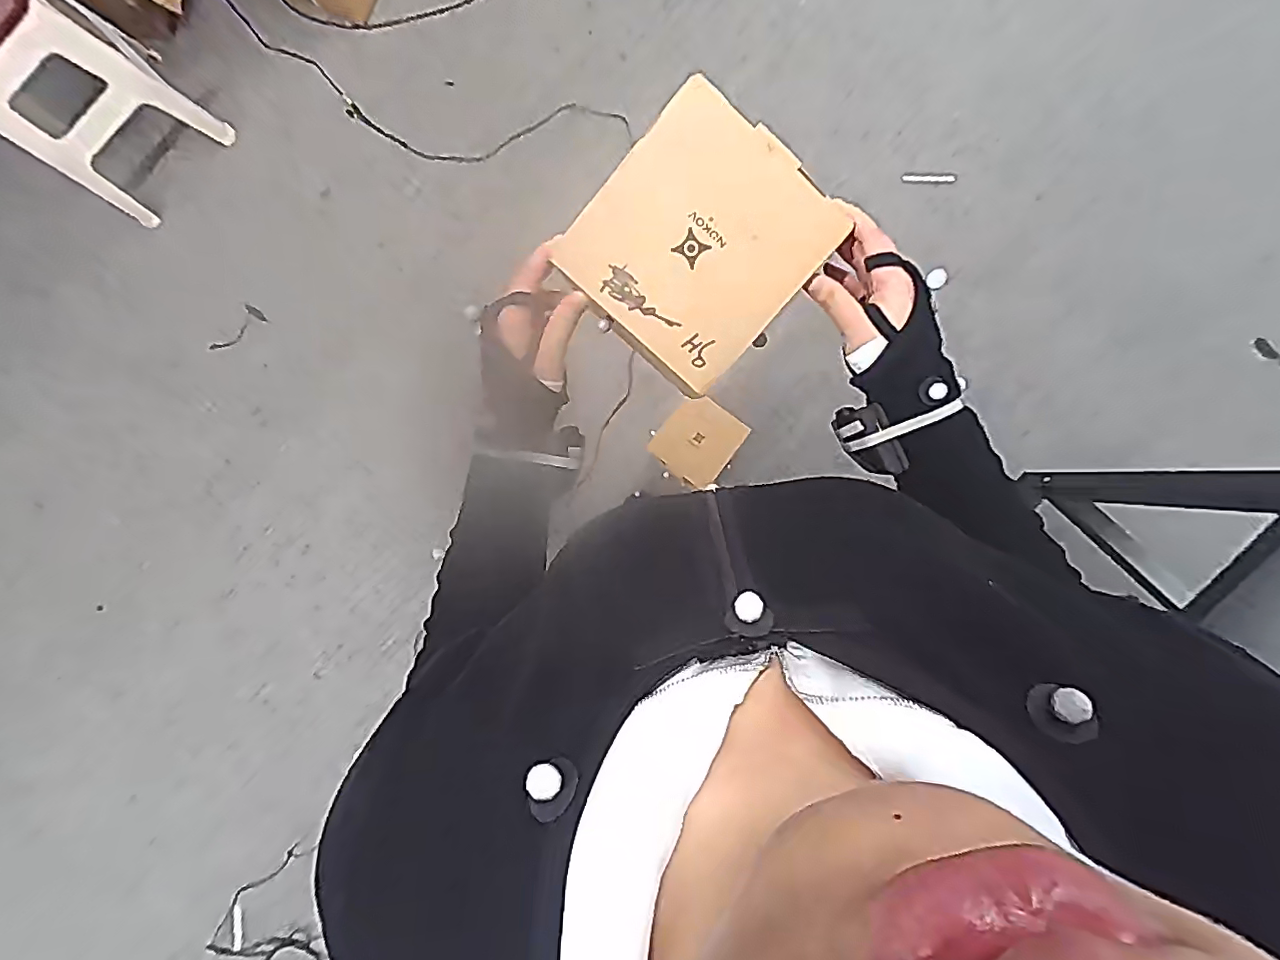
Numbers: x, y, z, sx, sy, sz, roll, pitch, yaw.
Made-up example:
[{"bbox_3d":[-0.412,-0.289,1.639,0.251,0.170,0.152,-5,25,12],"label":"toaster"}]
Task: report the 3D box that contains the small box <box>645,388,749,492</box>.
[{"bbox_3d":[0.129,-0.086,1.264,0.168,0.176,0.179,36,90,2],"label":"small box"}]
